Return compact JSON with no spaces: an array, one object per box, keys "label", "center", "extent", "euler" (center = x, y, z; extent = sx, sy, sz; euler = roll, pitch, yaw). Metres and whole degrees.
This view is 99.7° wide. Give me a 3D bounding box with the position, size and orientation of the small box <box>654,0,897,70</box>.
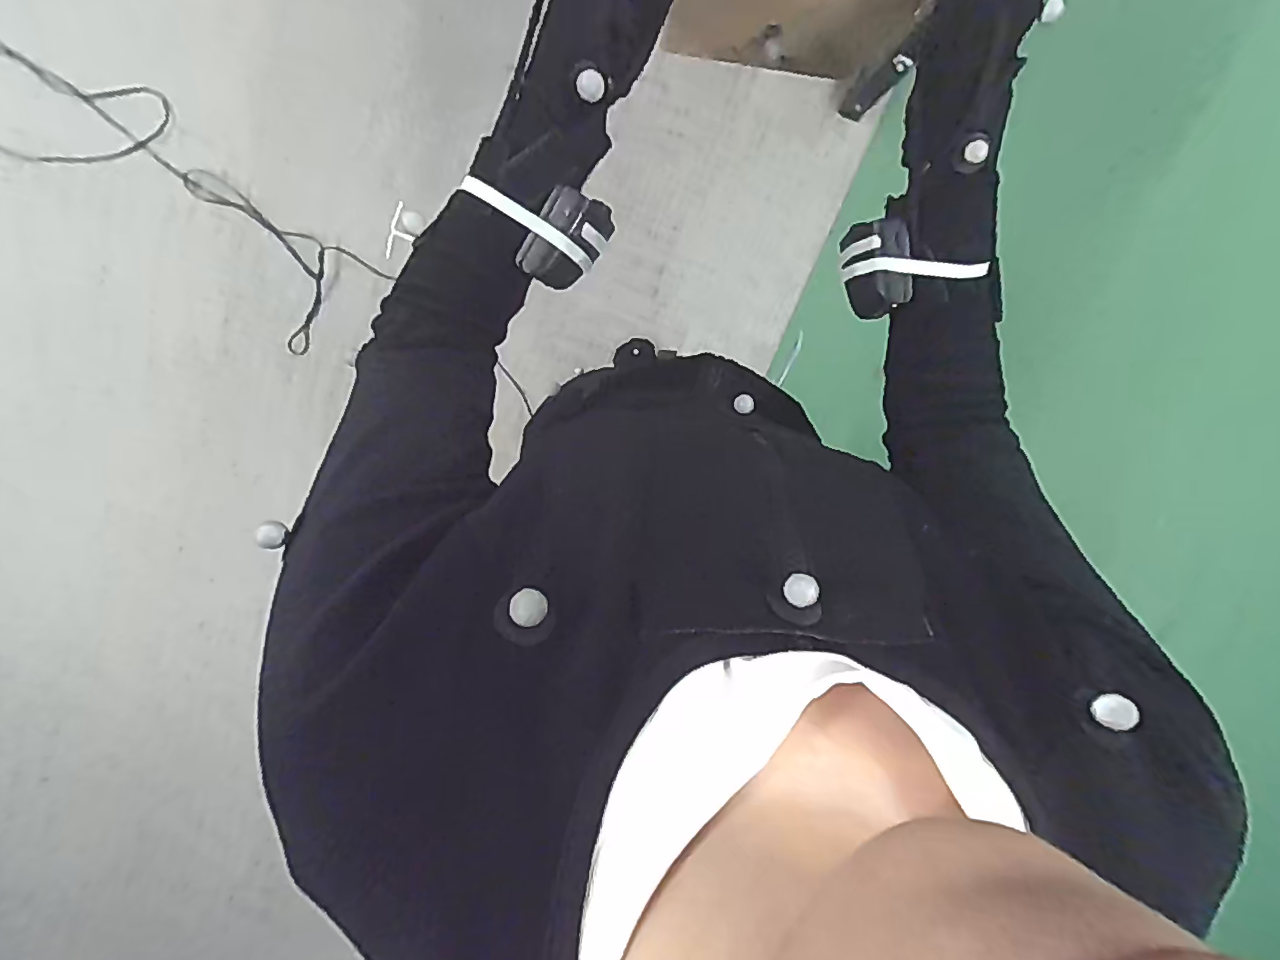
[{"label":"small box","center":[0.103,-0.418,0.354],"extent":[0.168,0.176,0.179],"euler":[5,105,-5]}]
